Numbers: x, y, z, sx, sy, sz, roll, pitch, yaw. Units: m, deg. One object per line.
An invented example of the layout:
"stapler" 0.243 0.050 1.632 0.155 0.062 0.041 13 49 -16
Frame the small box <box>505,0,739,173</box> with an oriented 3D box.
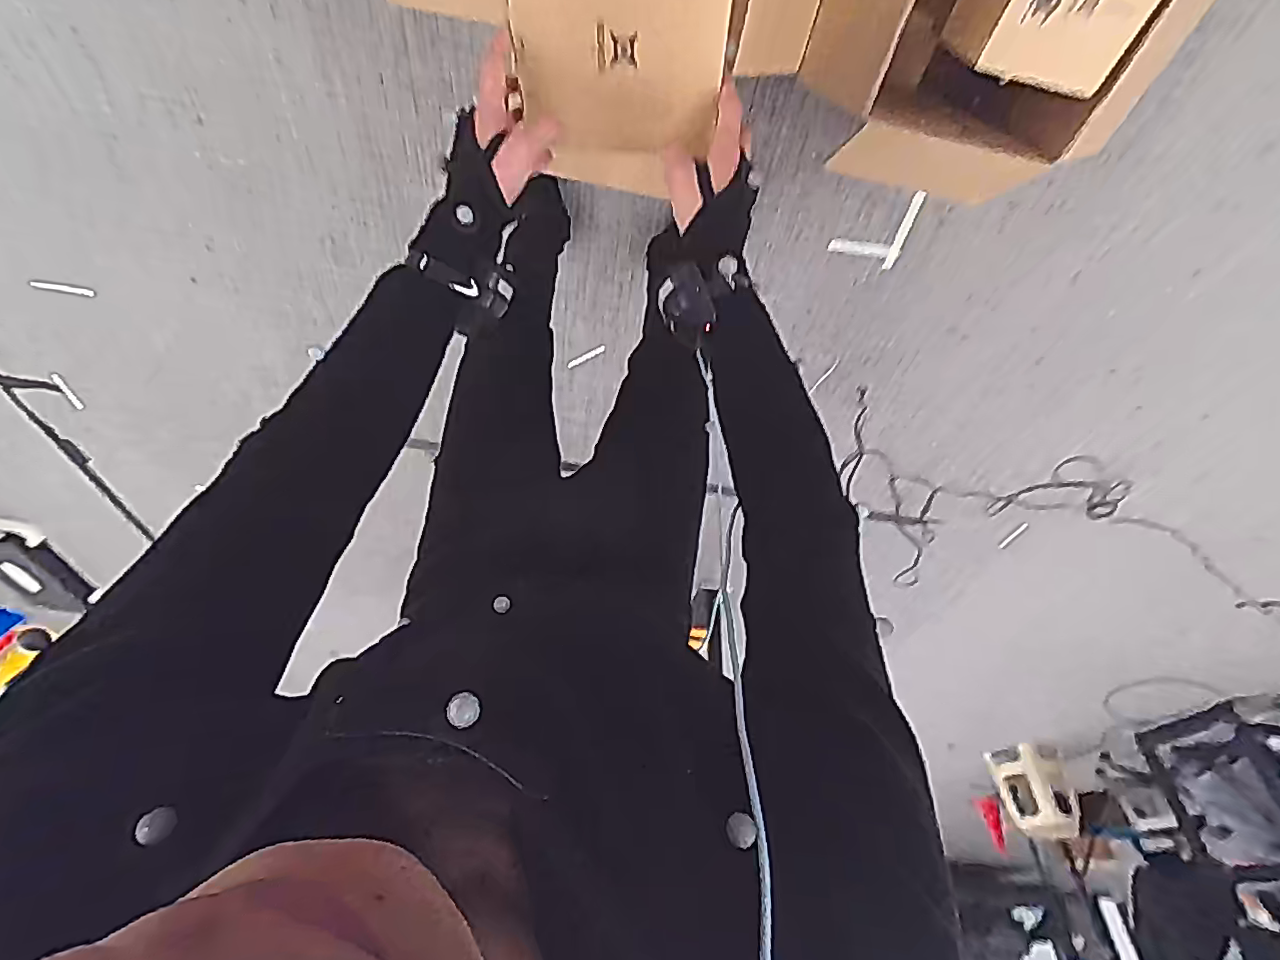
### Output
"small box" -0.012 -0.401 0.475 0.179 0.176 0.168 4 149 1
